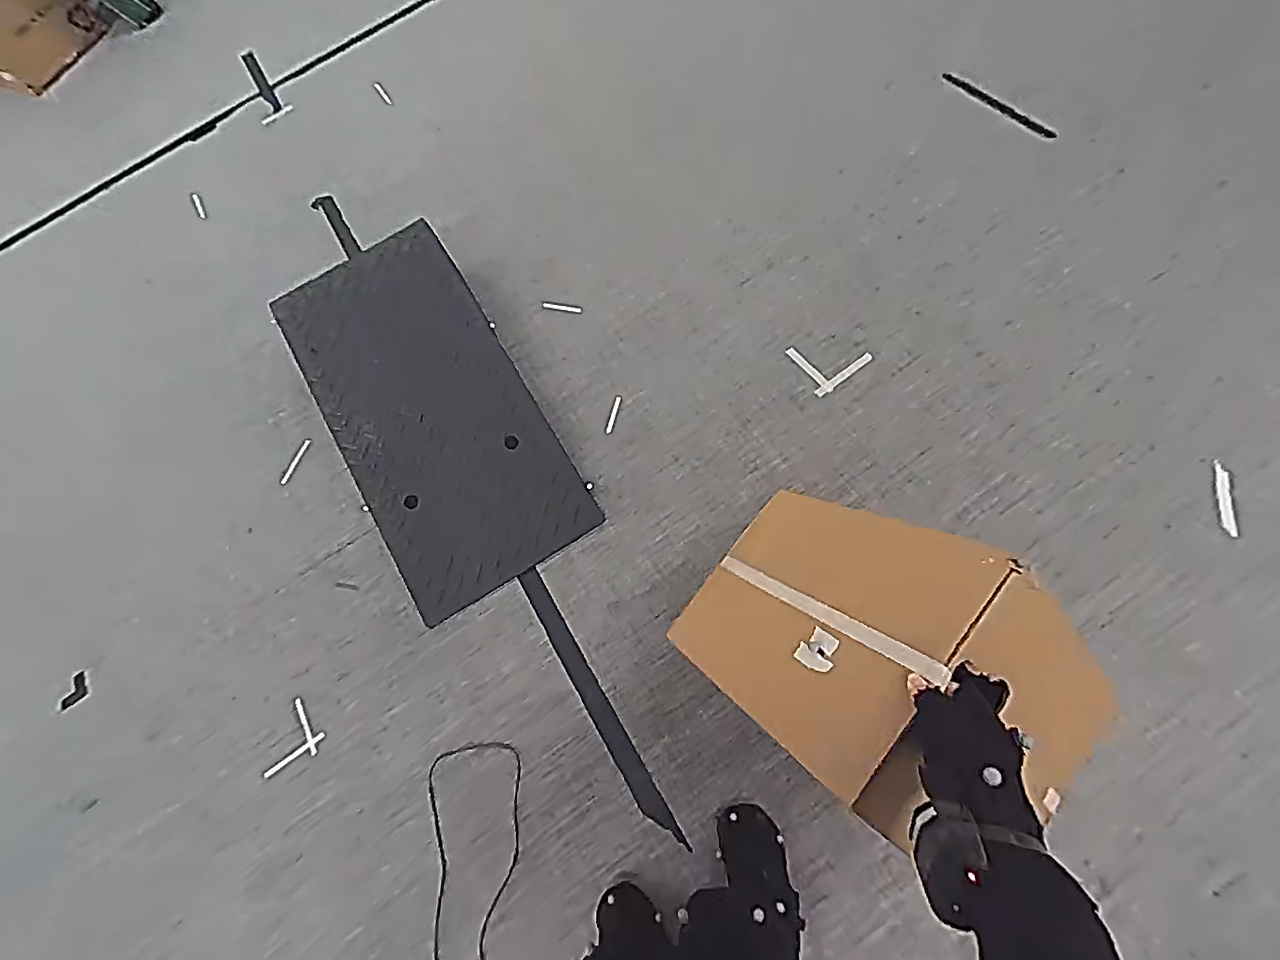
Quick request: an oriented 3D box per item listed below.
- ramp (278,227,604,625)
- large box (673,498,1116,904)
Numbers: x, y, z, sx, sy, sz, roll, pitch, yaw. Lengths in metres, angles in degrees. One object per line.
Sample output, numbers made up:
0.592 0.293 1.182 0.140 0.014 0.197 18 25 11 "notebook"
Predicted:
-0.542 -0.184 1.413 0.509 0.206 0.991 -33 67 -5 "ramp"
0.325 0.263 0.767 0.320 0.408 0.320 42 80 -24 "large box"
